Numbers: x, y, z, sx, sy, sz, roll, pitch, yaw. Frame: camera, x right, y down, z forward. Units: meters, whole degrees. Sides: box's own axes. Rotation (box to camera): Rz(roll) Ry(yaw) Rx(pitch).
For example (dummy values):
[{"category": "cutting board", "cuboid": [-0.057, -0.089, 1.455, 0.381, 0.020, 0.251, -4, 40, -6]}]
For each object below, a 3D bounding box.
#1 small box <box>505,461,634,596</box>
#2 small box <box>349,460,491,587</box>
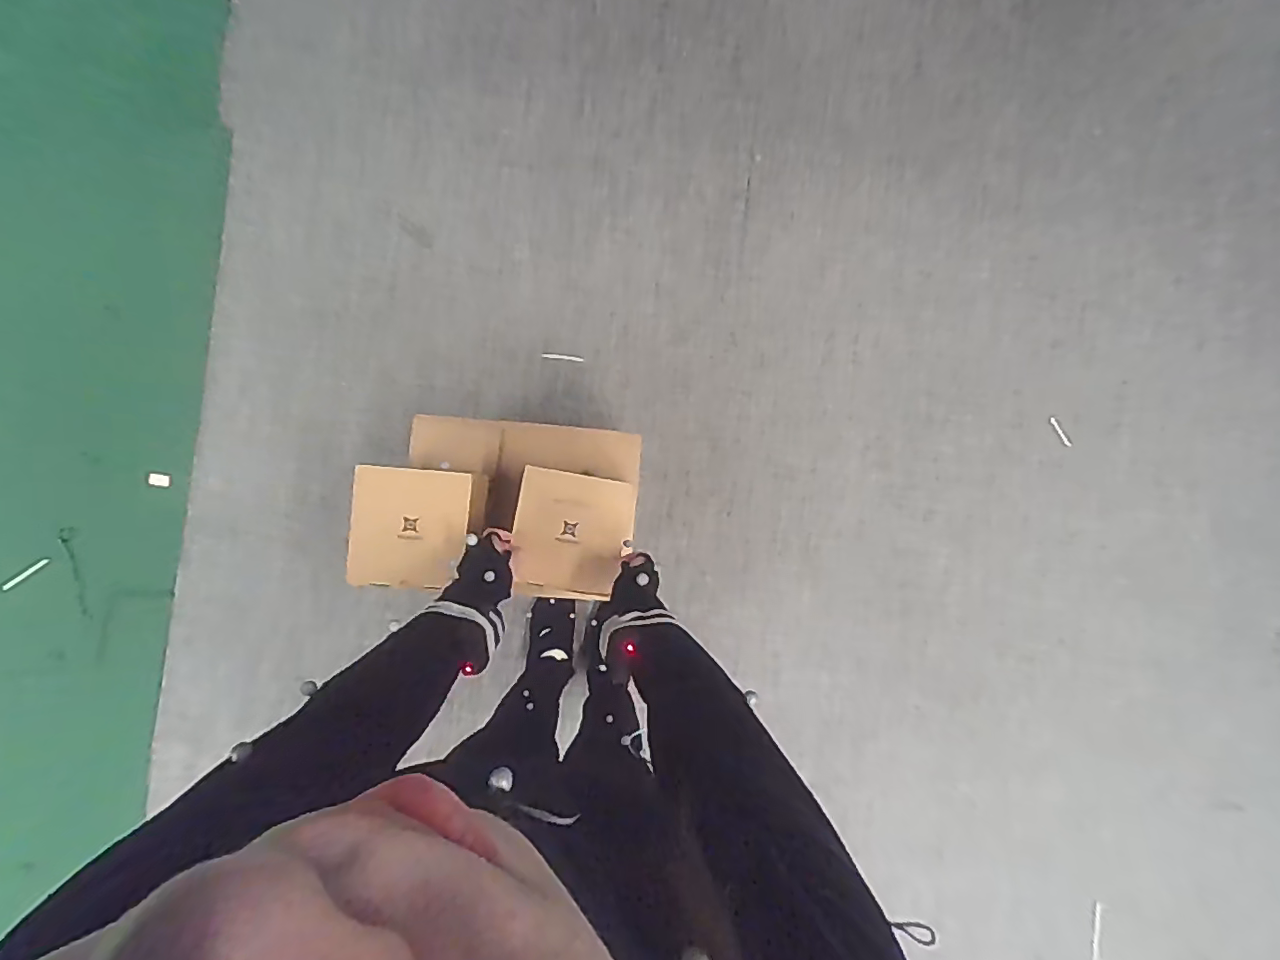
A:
[{"category": "small box", "cuboid": [-0.107, 0.075, 0.880, 0.168, 0.176, 0.179, 11, 87, -2]}, {"category": "small box", "cuboid": [-0.338, 0.063, 0.865, 0.168, 0.176, 0.179, 5, 91, -5]}]
